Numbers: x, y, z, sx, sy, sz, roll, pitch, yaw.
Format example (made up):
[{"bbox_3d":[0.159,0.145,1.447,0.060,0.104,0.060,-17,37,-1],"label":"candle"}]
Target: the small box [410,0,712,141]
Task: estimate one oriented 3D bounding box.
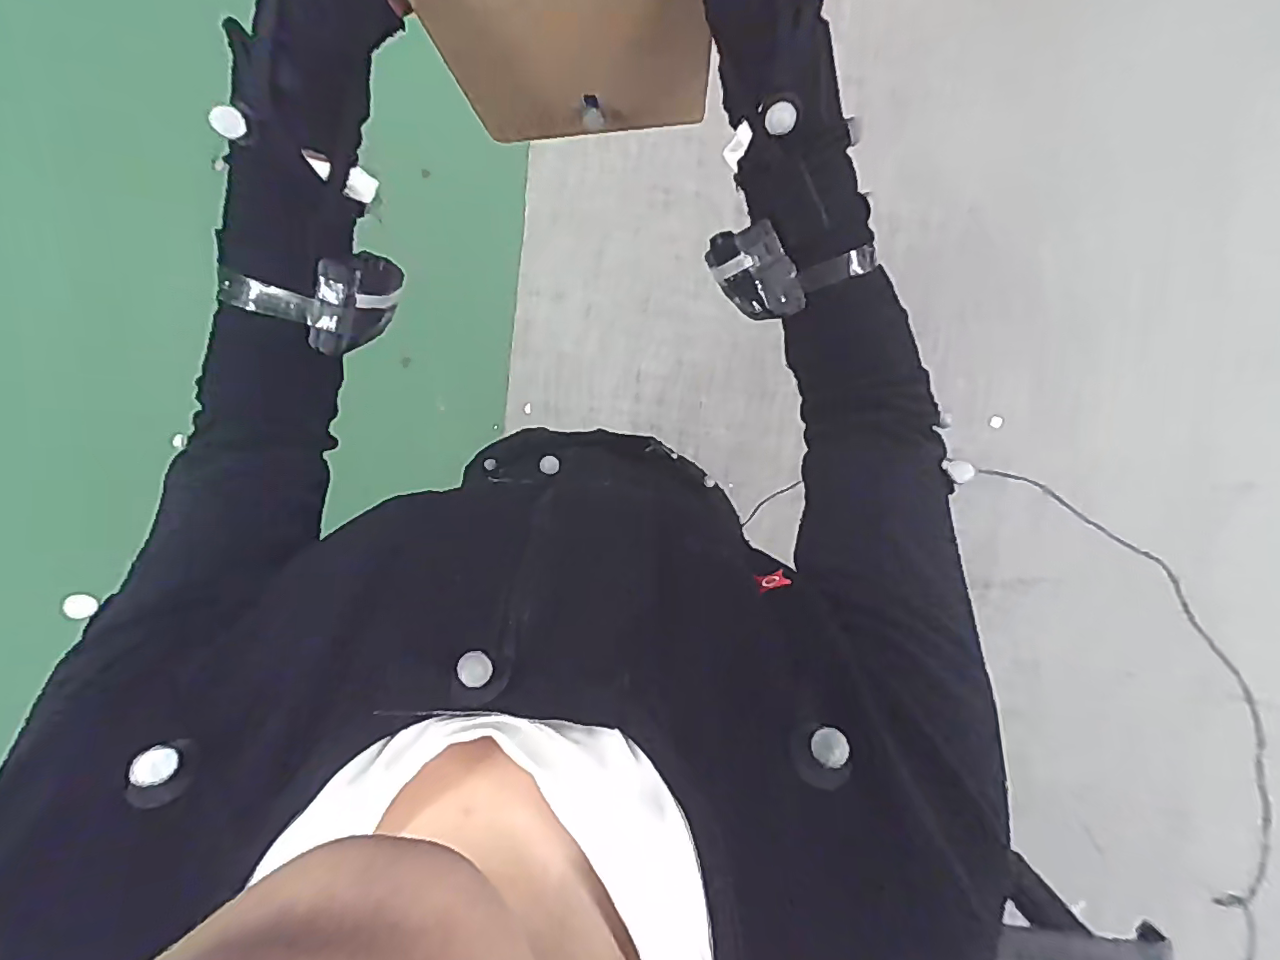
[{"bbox_3d":[-0.045,-0.355,0.355,0.179,0.176,0.168,-3,92,3],"label":"small box"}]
